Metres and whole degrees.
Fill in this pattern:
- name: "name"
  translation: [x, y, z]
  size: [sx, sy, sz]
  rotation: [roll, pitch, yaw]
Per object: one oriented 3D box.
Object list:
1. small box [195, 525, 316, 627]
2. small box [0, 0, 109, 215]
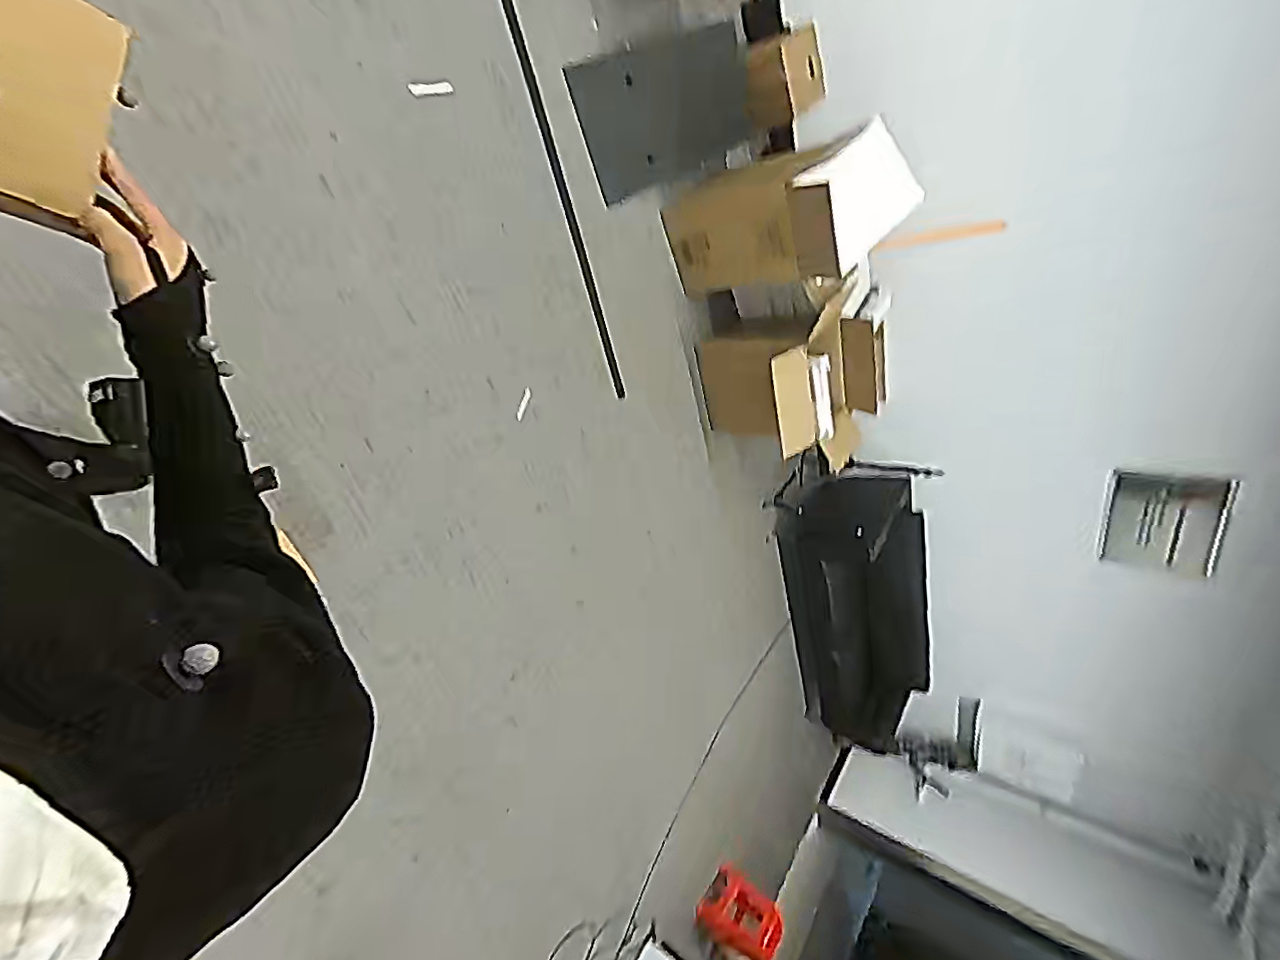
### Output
- name: "small box"
  translation: [-0.977, 0.236, 1.375]
  size: [0.168, 0.176, 0.179]
  rotation: [-43, 127, -40]
- name: "small box"
  translation: [-0.572, -0.340, 0.436]
  size: [0.168, 0.176, 0.179]
  rotation: [9, 96, -53]
